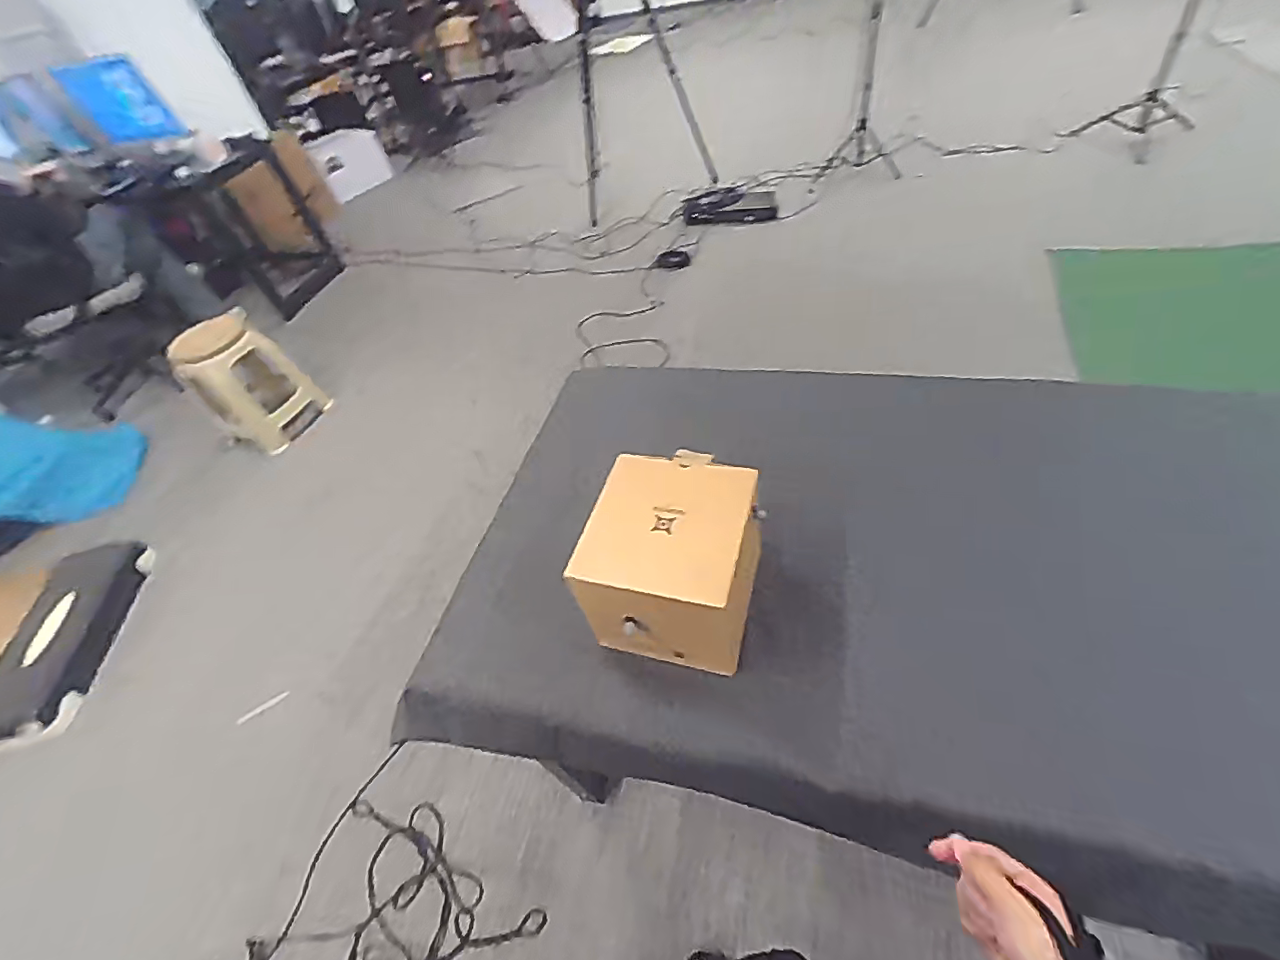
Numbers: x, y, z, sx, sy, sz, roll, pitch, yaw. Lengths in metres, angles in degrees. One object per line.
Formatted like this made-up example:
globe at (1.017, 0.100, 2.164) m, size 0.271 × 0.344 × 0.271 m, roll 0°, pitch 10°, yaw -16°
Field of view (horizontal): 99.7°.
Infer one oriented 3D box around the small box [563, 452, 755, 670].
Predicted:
small box at (0.037, 0.093, 0.620) m, size 0.168 × 0.176 × 0.179 m, roll 7°, pitch 50°, yaw 19°
